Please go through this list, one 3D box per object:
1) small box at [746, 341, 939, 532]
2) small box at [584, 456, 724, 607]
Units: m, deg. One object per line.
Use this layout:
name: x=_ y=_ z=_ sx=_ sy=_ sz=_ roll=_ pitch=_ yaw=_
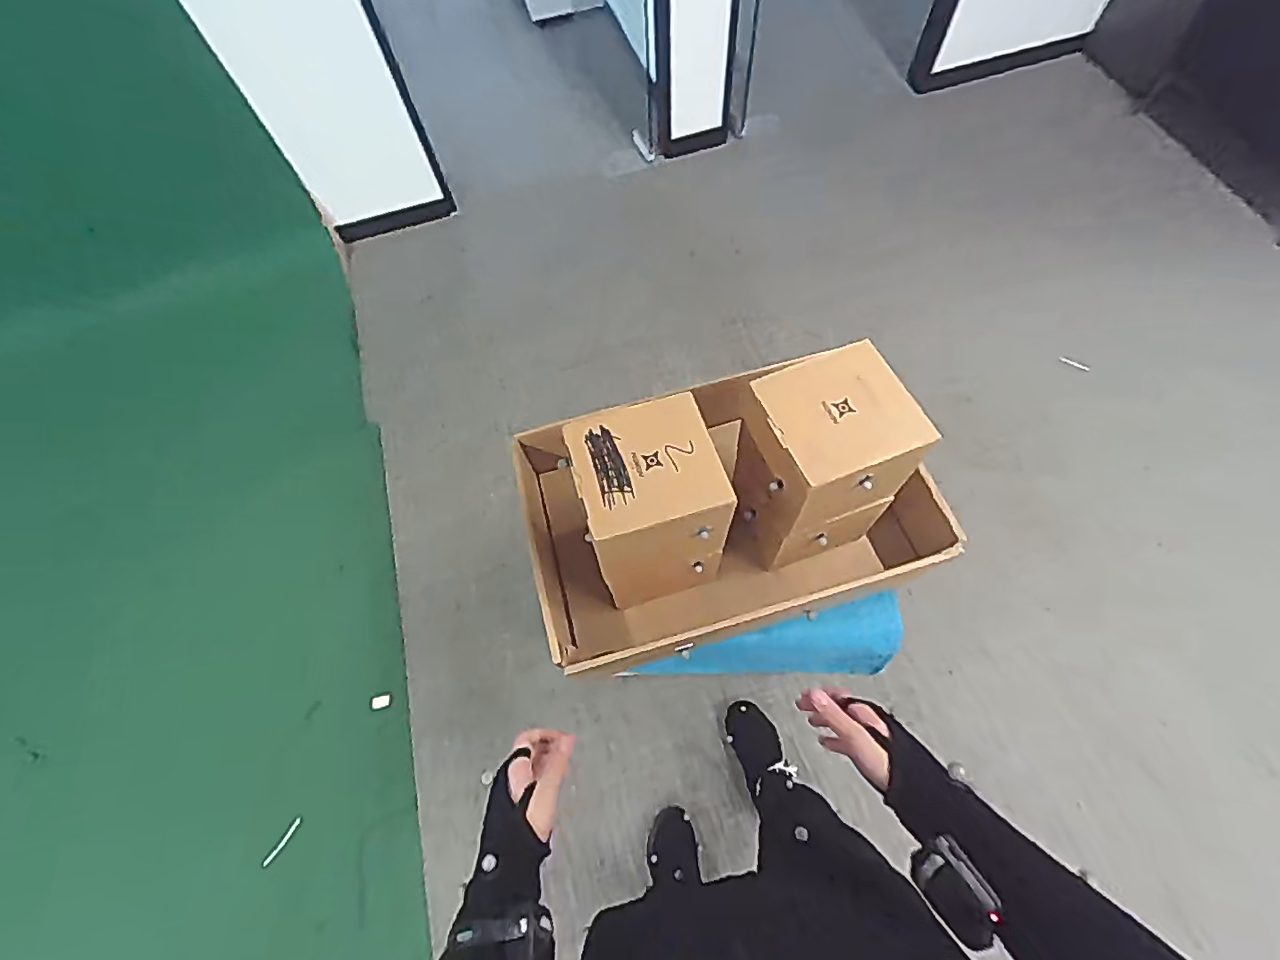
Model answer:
small box: x=0.254 y=-0.050 z=0.733 sx=0.179 sy=0.176 sz=0.168 roll=-21 pitch=64 yaw=-4
small box: x=0.023 y=0.090 z=0.872 sx=0.179 sy=0.176 sz=0.168 roll=-16 pitch=64 yaw=-5
